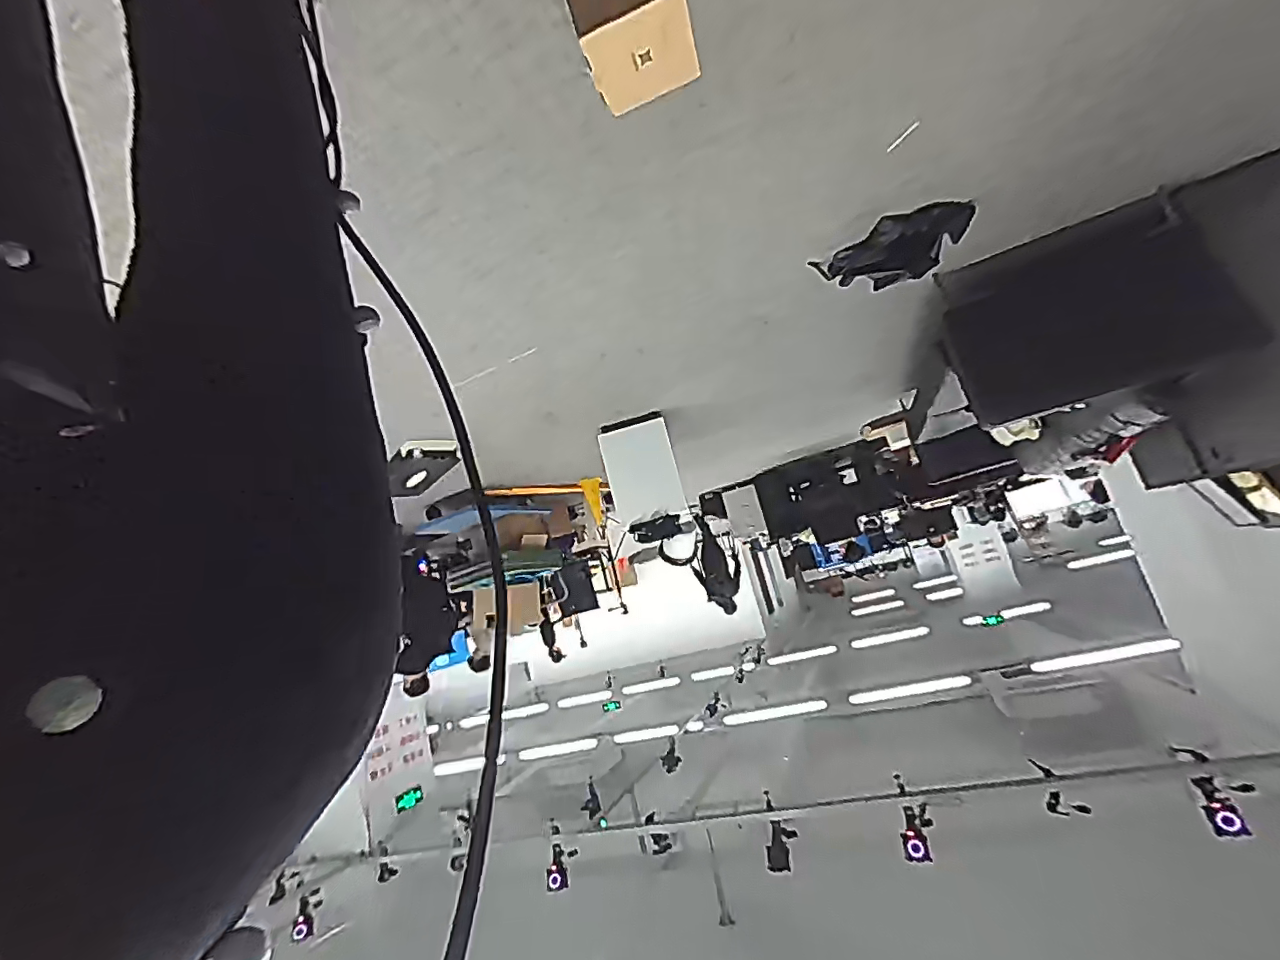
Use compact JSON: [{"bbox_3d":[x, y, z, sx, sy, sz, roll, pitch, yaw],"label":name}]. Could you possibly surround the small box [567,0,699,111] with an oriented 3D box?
[{"bbox_3d":[-0.018,-0.778,0.898,0.179,0.176,0.168,-18,170,13],"label":"small box"}]
